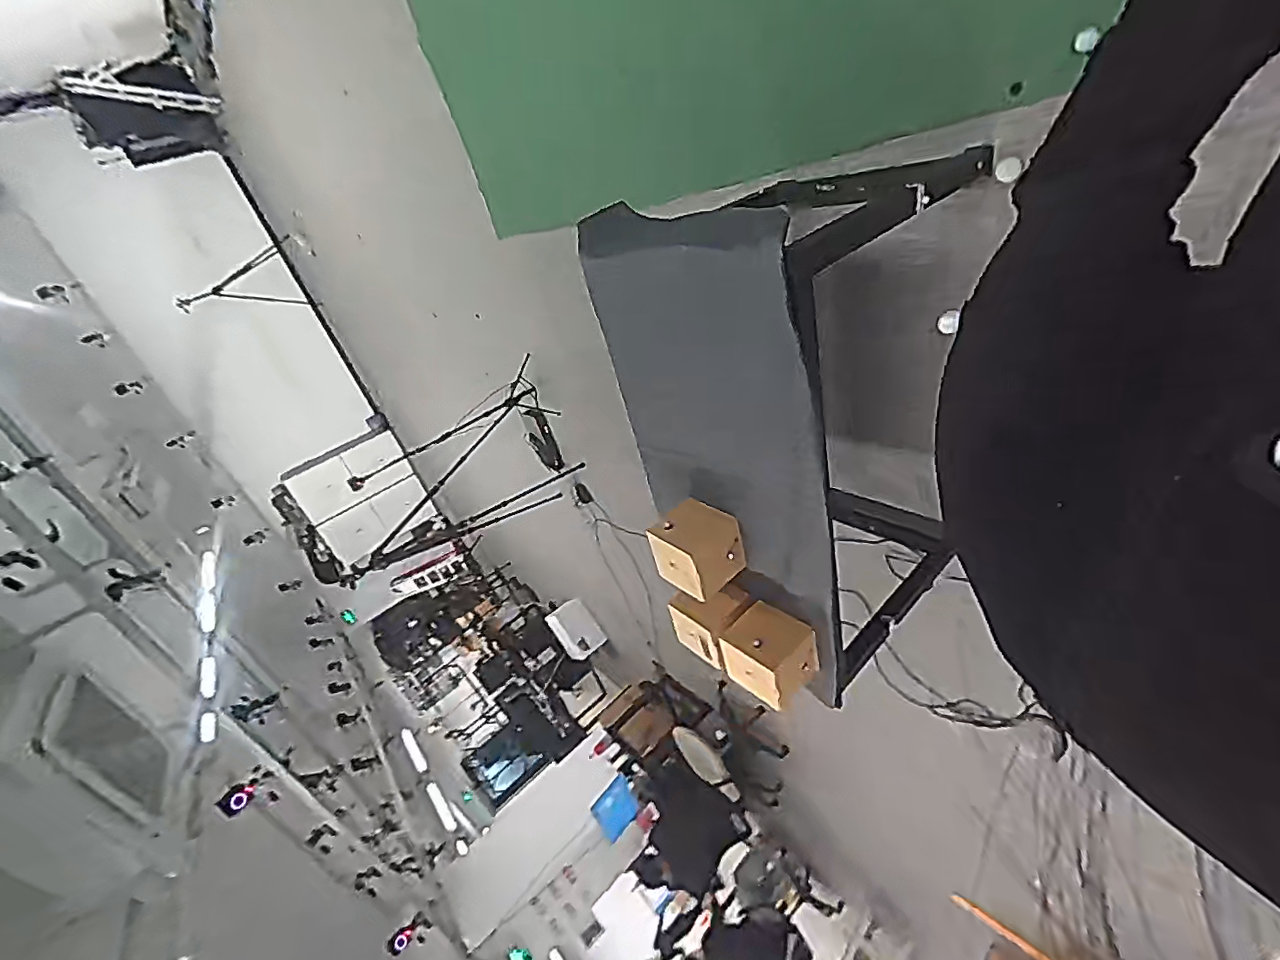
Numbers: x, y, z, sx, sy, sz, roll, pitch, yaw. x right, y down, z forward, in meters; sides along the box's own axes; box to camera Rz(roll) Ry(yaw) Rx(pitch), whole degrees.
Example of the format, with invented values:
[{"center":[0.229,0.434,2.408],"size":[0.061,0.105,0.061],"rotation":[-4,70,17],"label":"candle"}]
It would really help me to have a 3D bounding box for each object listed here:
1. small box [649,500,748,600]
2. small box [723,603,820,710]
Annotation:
[{"center":[0.156,0.175,1.416],"size":[0.179,0.176,0.168],"rotation":[23,140,46],"label":"small box"},{"center":[0.347,0.449,1.413],"size":[0.179,0.176,0.168],"rotation":[23,139,46],"label":"small box"}]
